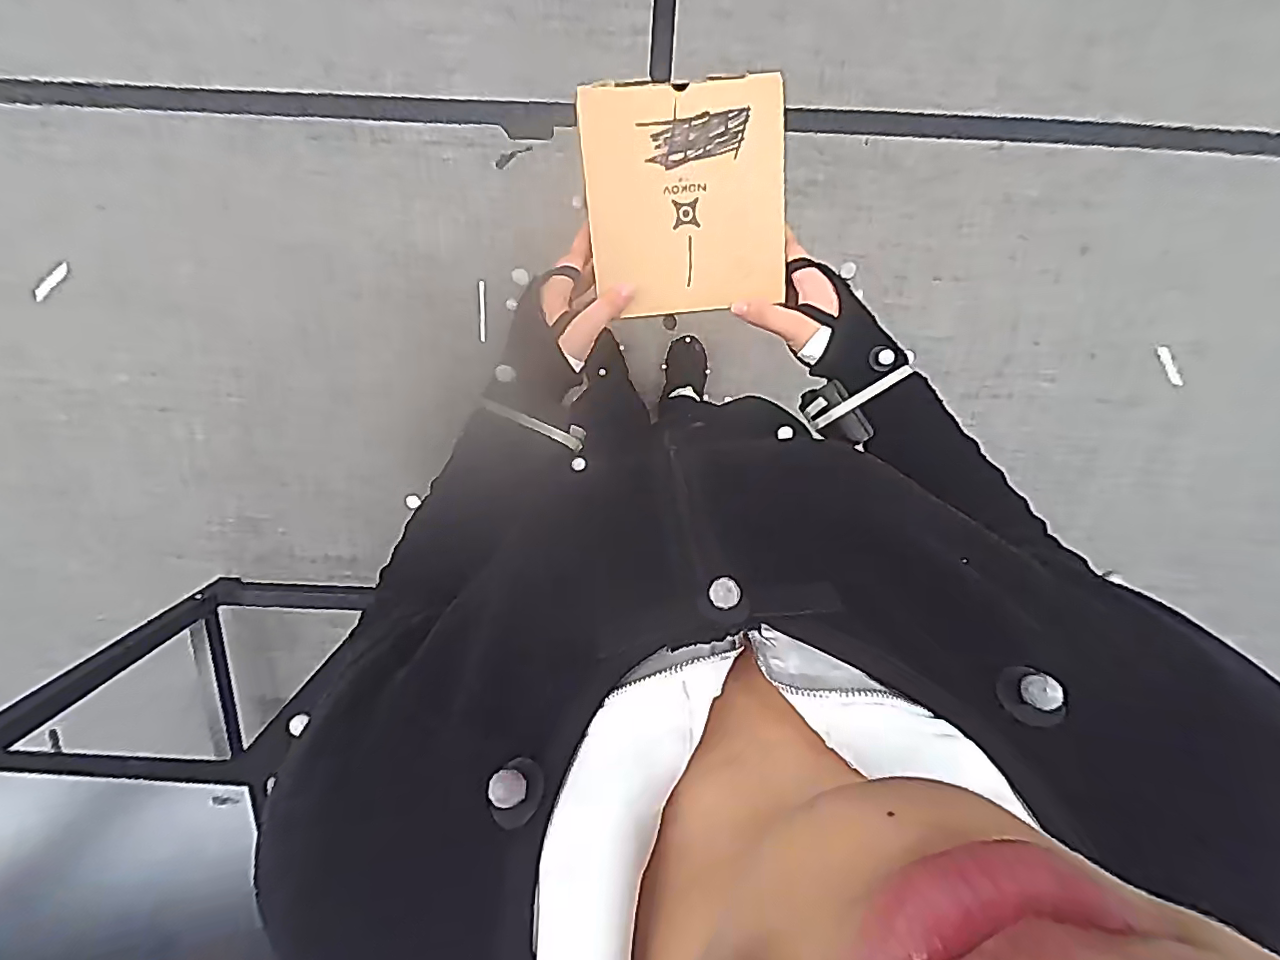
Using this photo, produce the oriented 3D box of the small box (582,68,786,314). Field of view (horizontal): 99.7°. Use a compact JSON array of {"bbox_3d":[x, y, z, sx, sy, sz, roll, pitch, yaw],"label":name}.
[{"bbox_3d":[0.033,-0.257,0.521,0.168,0.176,0.179,-6,108,-3],"label":"small box"}]
